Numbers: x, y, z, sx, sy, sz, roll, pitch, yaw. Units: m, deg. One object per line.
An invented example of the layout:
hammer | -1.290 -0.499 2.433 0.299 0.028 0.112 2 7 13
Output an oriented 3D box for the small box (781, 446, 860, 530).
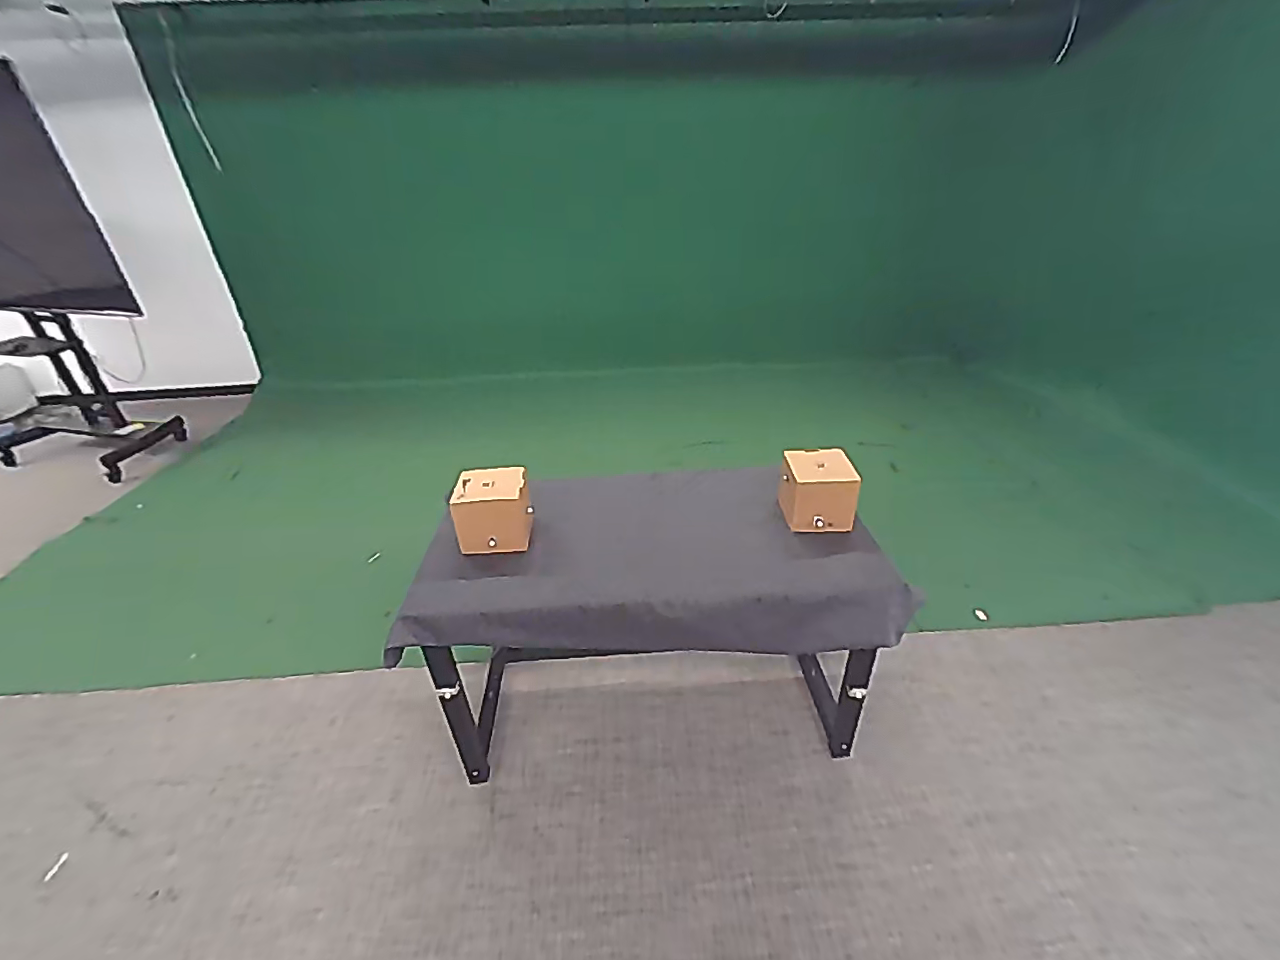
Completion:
small box | 0.491 0.021 1.499 0.168 0.176 0.179 -2 31 5

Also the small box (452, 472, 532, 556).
small box | -0.394 0.093 1.475 0.179 0.176 0.168 -3 31 -3
